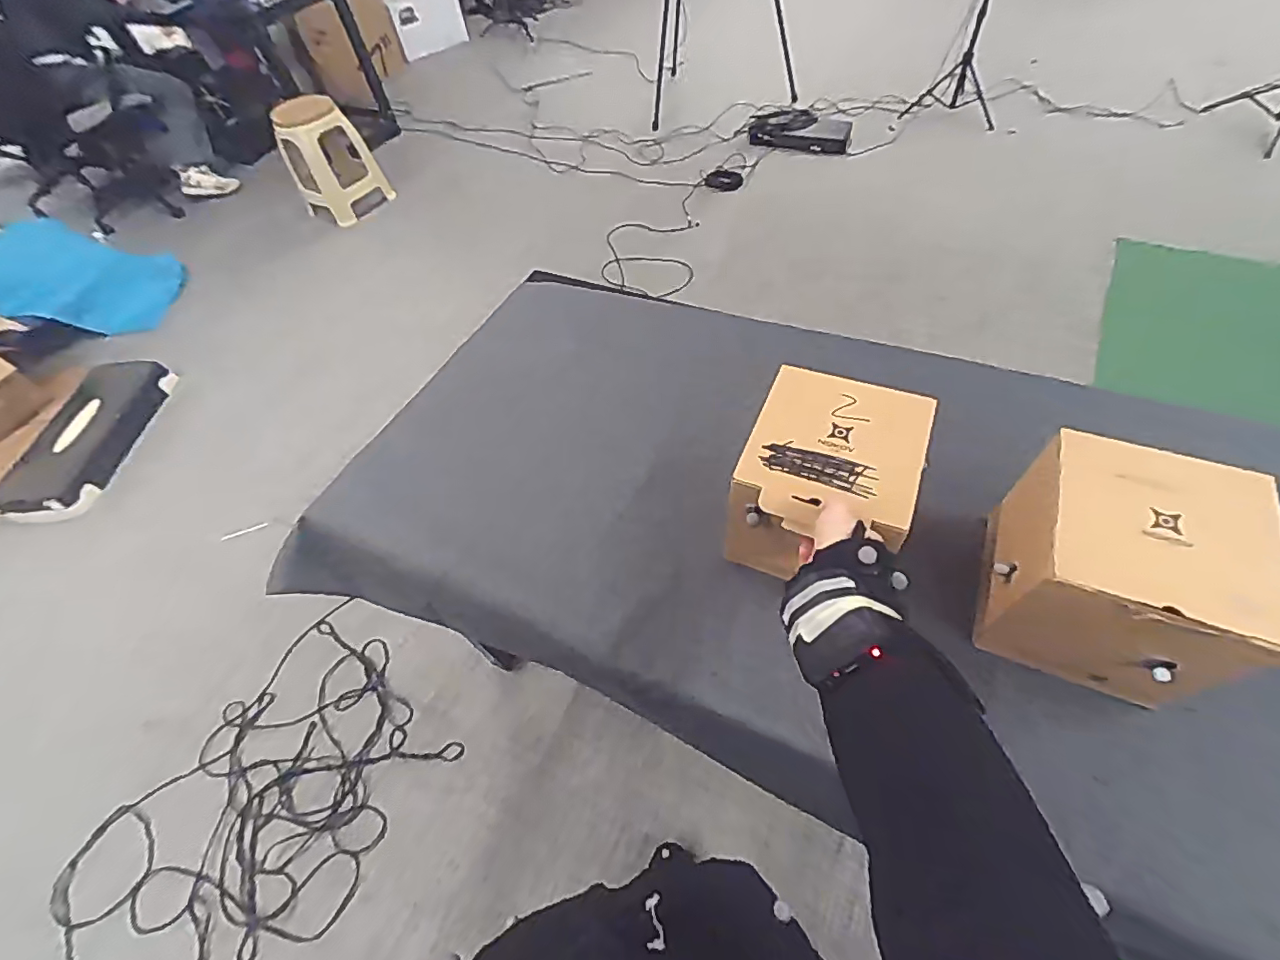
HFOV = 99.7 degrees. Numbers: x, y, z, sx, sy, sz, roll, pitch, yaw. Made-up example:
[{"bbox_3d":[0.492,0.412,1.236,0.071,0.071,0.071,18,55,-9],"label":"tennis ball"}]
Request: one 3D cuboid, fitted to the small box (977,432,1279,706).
[{"bbox_3d":[0.448,0.089,0.517,0.168,0.176,0.179,18,57,17],"label":"small box"}]
